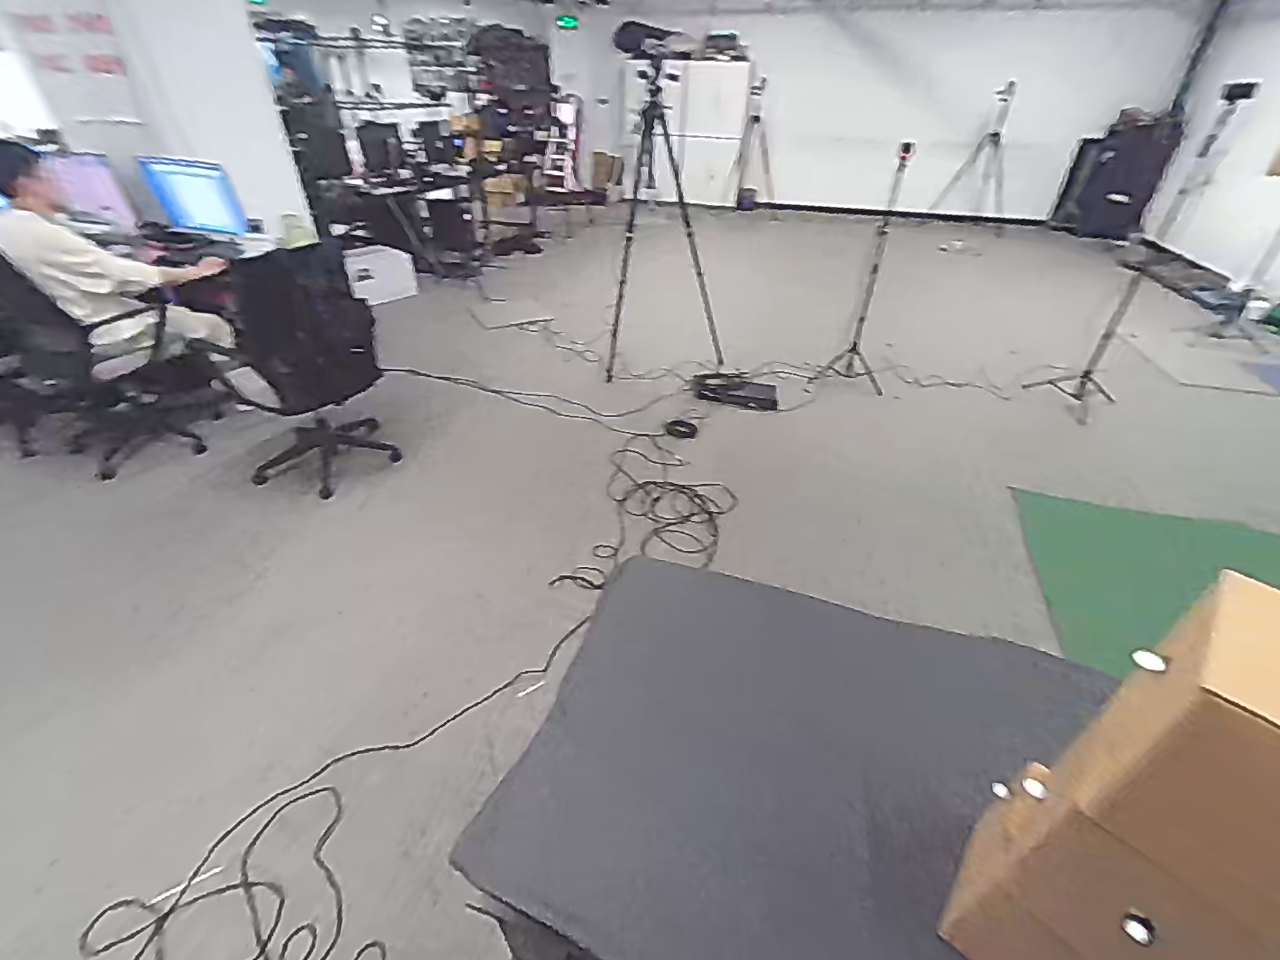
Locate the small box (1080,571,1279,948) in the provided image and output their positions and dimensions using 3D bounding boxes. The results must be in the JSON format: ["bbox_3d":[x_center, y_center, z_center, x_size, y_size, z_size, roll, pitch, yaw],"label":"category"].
[{"bbox_3d":[0.467,0.205,0.388,0.168,0.176,0.179,-27,45,-35],"label":"small box"}]

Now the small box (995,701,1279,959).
[{"bbox_3d":[0.466,0.338,0.481,0.168,0.176,0.179,-25,43,-33],"label":"small box"}]
